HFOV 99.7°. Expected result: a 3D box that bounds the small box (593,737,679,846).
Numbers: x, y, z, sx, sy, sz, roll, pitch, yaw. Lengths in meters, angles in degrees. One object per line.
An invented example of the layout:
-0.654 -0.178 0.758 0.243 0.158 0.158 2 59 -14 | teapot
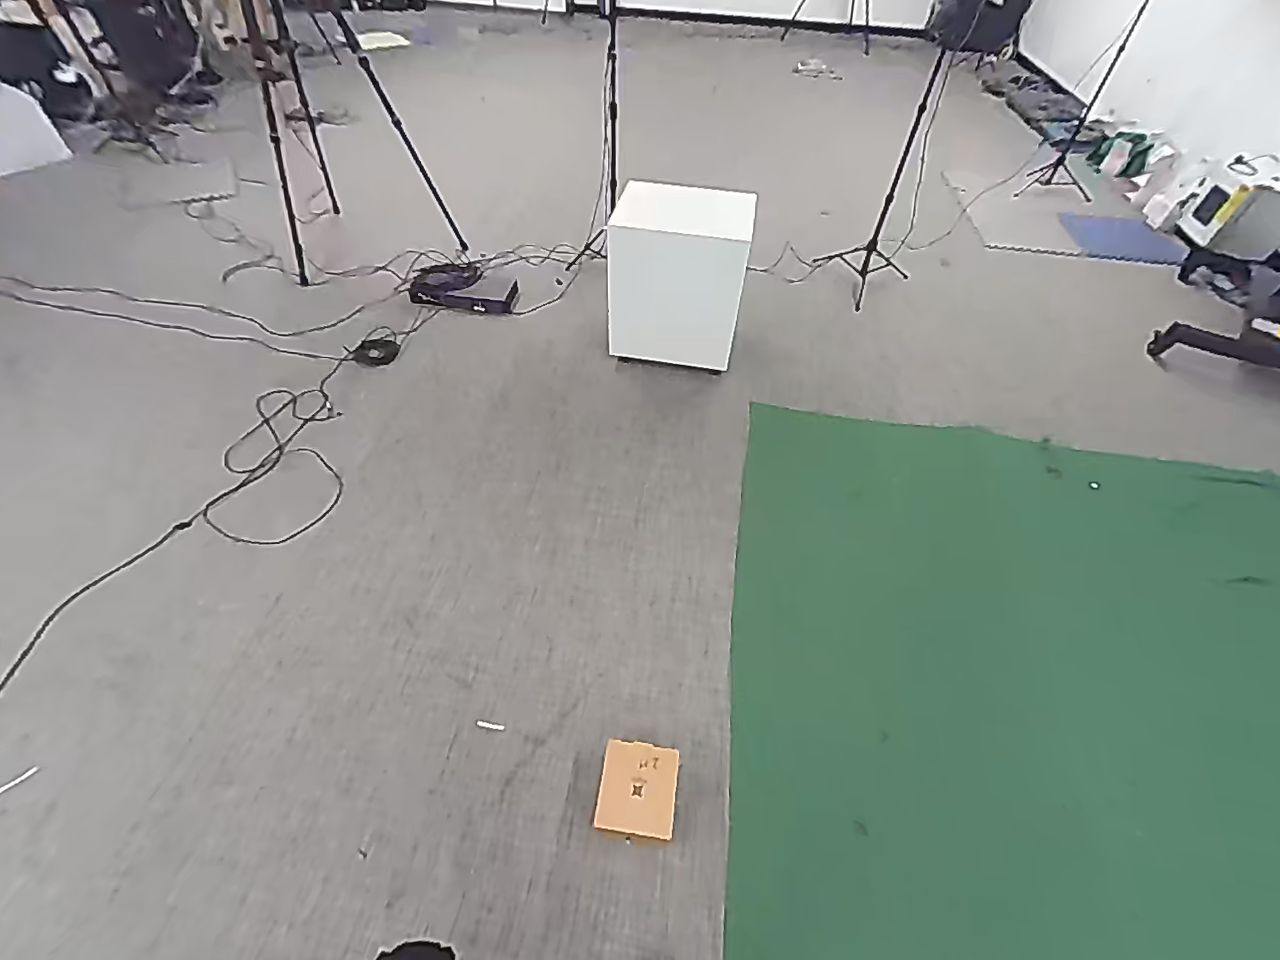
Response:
-0.007 0.707 1.220 0.168 0.176 0.179 8 50 3 | small box
